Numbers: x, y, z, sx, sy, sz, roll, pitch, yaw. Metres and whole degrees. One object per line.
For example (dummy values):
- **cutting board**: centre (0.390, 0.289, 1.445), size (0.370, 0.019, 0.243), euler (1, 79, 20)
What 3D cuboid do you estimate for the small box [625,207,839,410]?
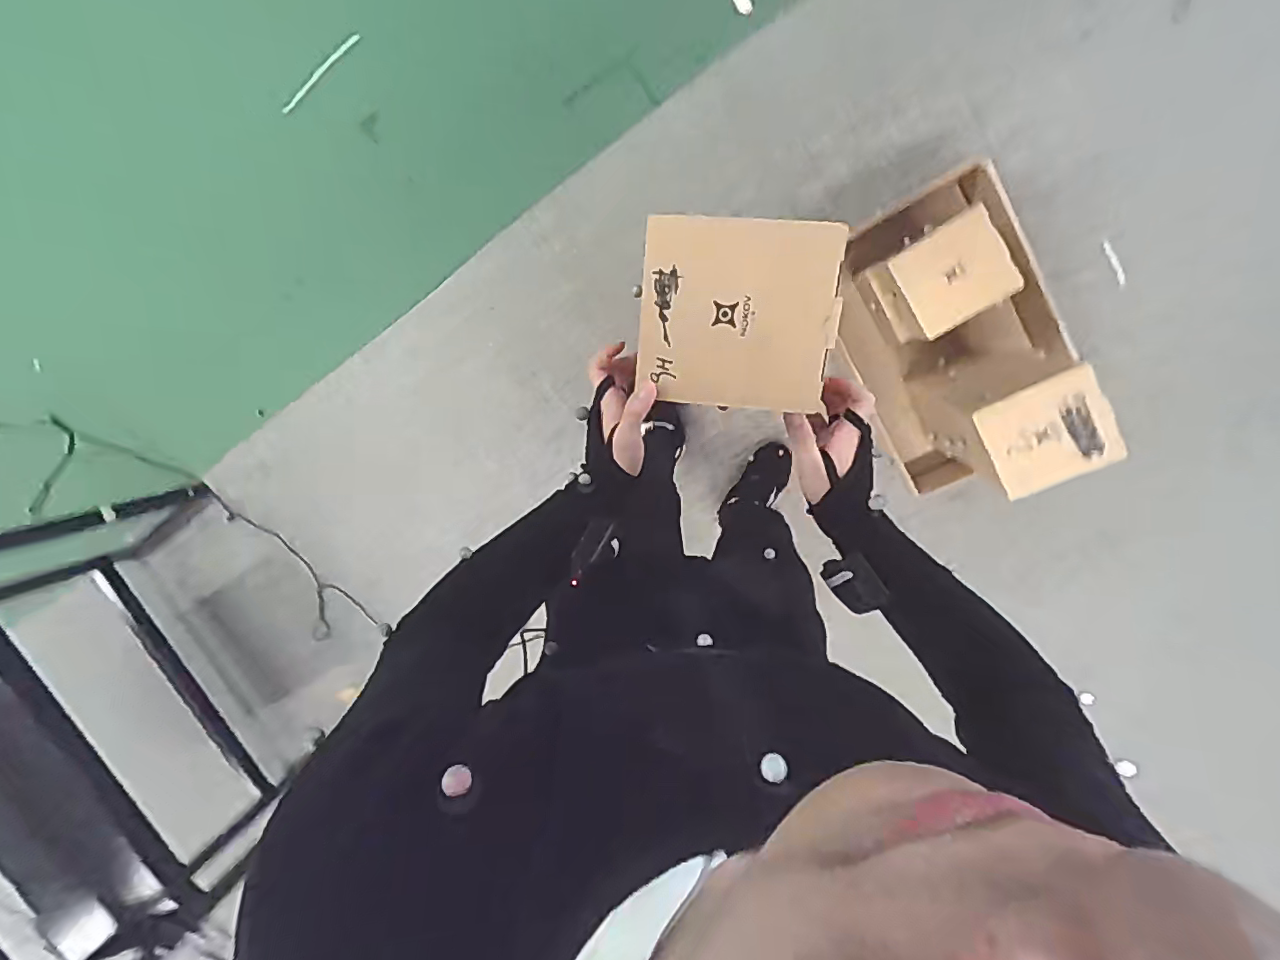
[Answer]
- **small box**: centre (0.087, -0.172, 0.560), size (0.179, 0.176, 0.168), euler (6, 105, 7)

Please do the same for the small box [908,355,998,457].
- **small box**: centre (0.738, -0.174, 1.233), size (0.168, 0.176, 0.179), euler (-23, 97, 18)

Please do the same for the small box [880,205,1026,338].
- **small box**: centre (0.588, -0.388, 1.046), size (0.179, 0.176, 0.168), euler (-30, 96, 18)

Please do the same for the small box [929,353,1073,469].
- **small box**: centre (0.702, -0.142, 1.078), size (0.179, 0.176, 0.168), euler (-23, 98, 18)
